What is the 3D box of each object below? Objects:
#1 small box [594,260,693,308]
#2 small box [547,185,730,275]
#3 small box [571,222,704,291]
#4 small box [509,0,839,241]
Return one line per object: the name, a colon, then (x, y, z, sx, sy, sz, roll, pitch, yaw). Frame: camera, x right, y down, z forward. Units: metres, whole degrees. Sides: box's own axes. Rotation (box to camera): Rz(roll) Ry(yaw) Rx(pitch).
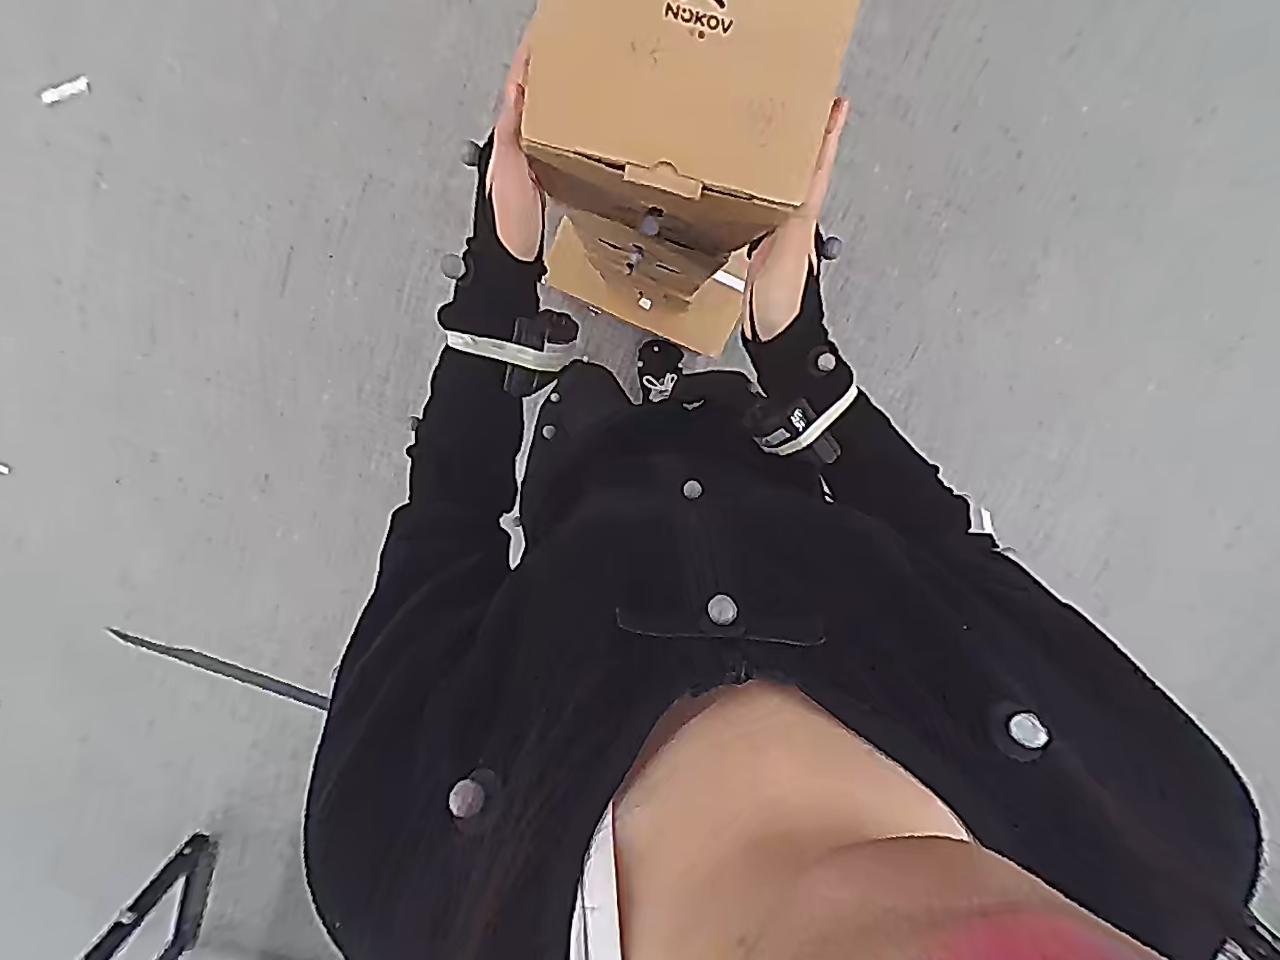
small box: (0.027, -0.426, 1.004, 0.179, 0.176, 0.168, 18, 105, -5)
small box: (0.022, -0.317, 0.525, 0.168, 0.176, 0.179, 18, 105, -4)
small box: (0.022, -0.356, 0.685, 0.168, 0.176, 0.179, 19, 105, -5)
small box: (0.022, -0.275, 0.363, 0.168, 0.176, 0.179, 11, 106, -4)
